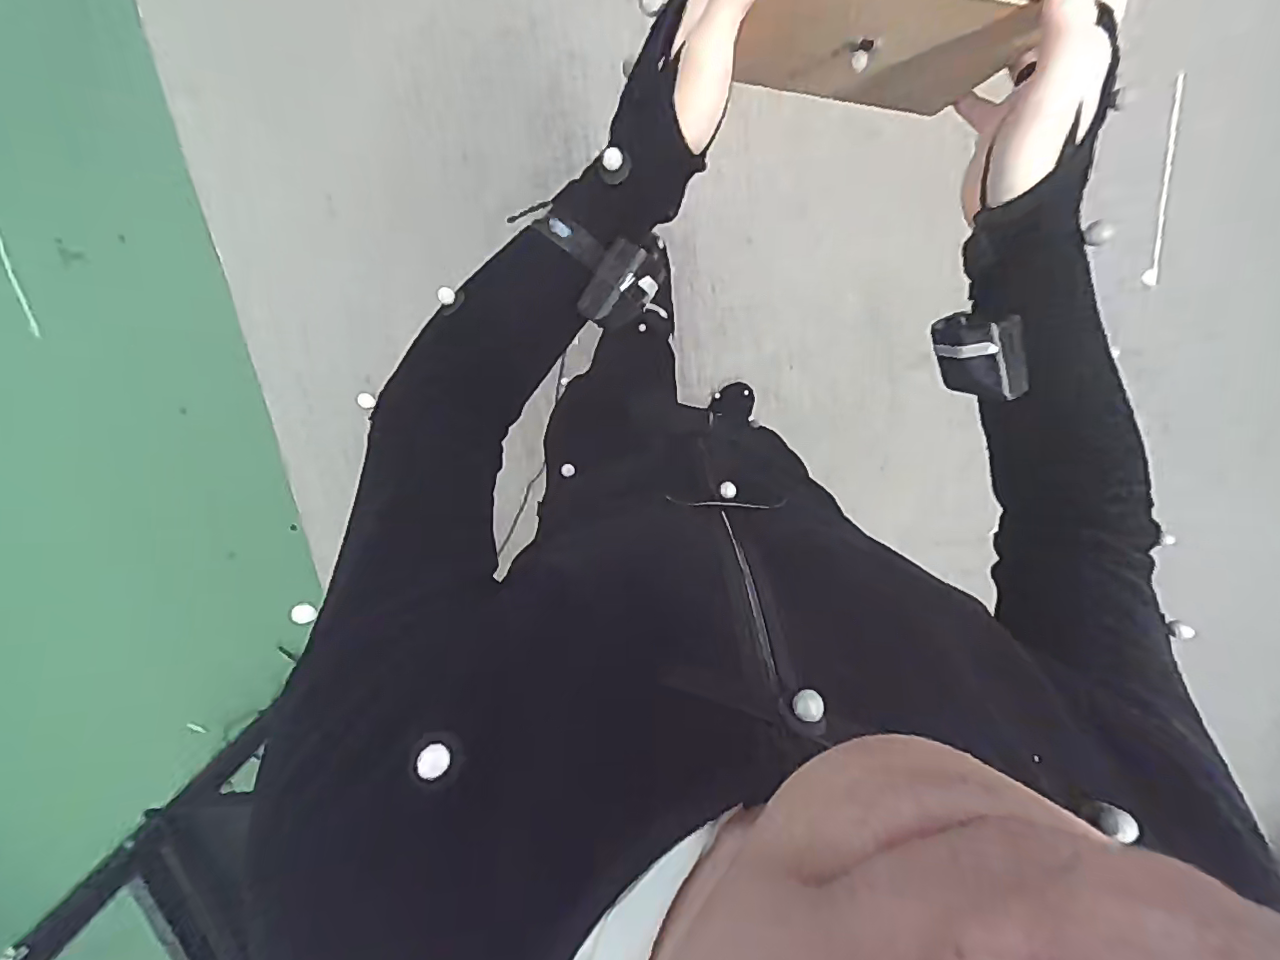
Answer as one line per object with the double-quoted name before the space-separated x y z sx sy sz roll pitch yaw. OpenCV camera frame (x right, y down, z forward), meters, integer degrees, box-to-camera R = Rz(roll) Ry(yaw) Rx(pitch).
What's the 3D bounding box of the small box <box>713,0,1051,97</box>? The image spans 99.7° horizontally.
"small box" 0.152 -0.370 0.338 0.179 0.176 0.168 9 107 -1
